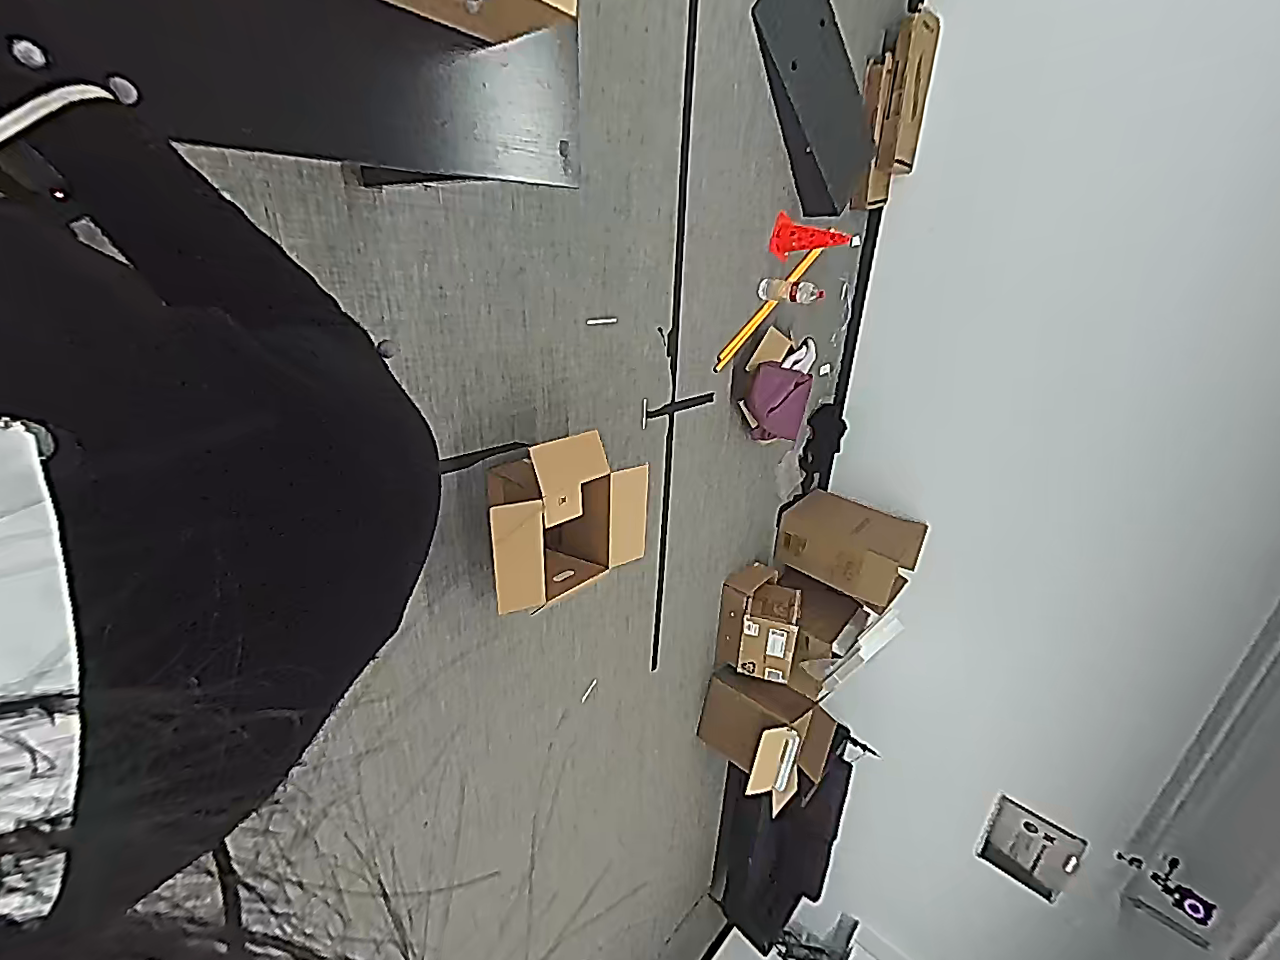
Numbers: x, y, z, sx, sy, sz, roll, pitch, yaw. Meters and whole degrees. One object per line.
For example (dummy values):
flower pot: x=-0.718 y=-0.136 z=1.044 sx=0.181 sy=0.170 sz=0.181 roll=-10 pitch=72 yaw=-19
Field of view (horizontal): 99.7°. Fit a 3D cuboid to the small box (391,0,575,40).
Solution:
small box: x=-0.192 y=-0.640 z=0.617 sx=0.179 sy=0.176 sz=0.168 roll=-19 pitch=121 yaw=-44
